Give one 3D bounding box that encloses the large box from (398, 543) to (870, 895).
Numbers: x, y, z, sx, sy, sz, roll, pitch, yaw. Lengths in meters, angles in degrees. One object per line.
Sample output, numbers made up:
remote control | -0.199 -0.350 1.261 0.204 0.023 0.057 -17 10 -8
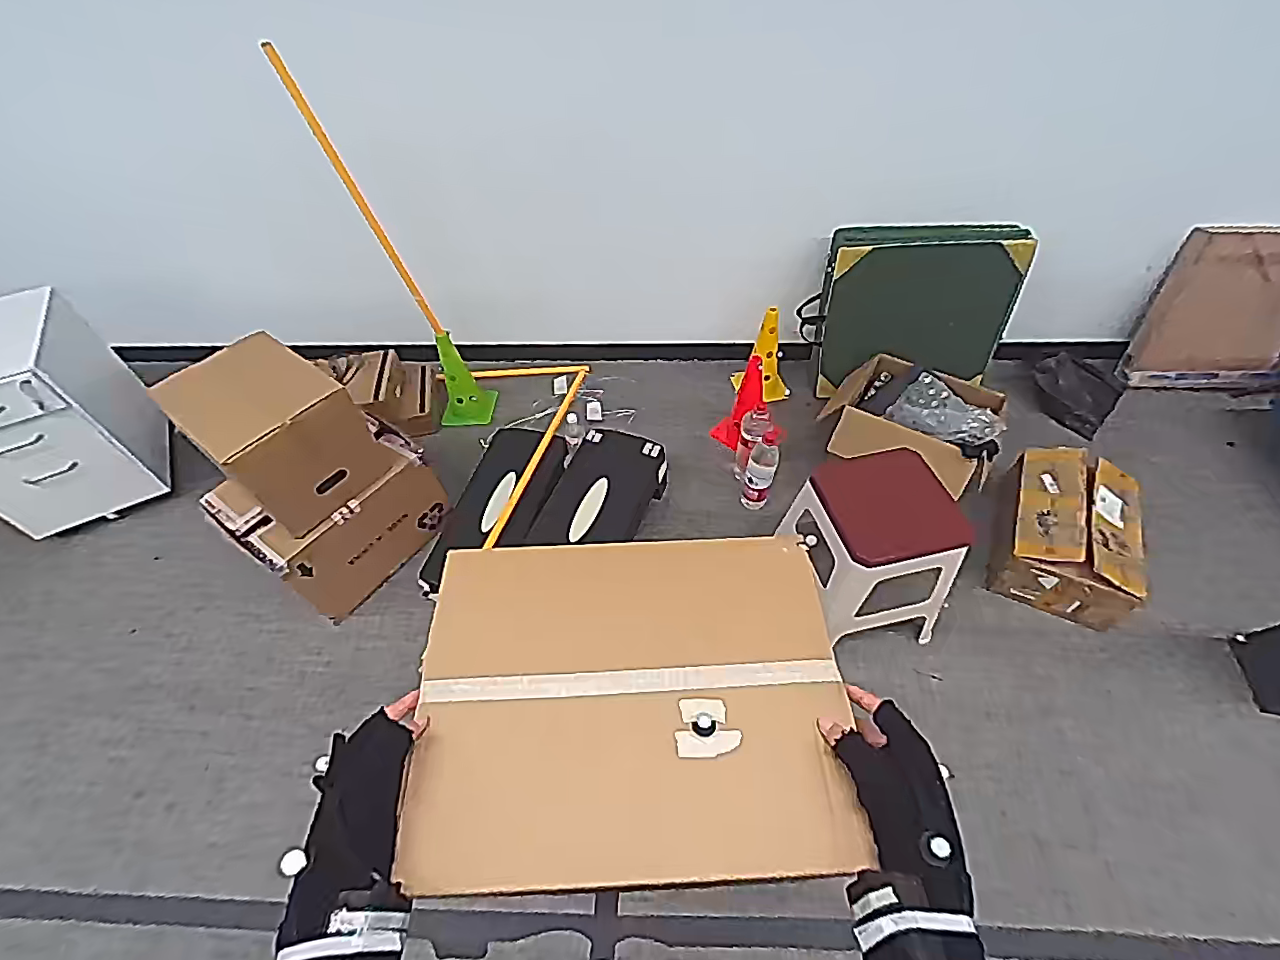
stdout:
large box | -0.010 0.294 0.654 0.408 0.320 0.320 -2 52 -1
